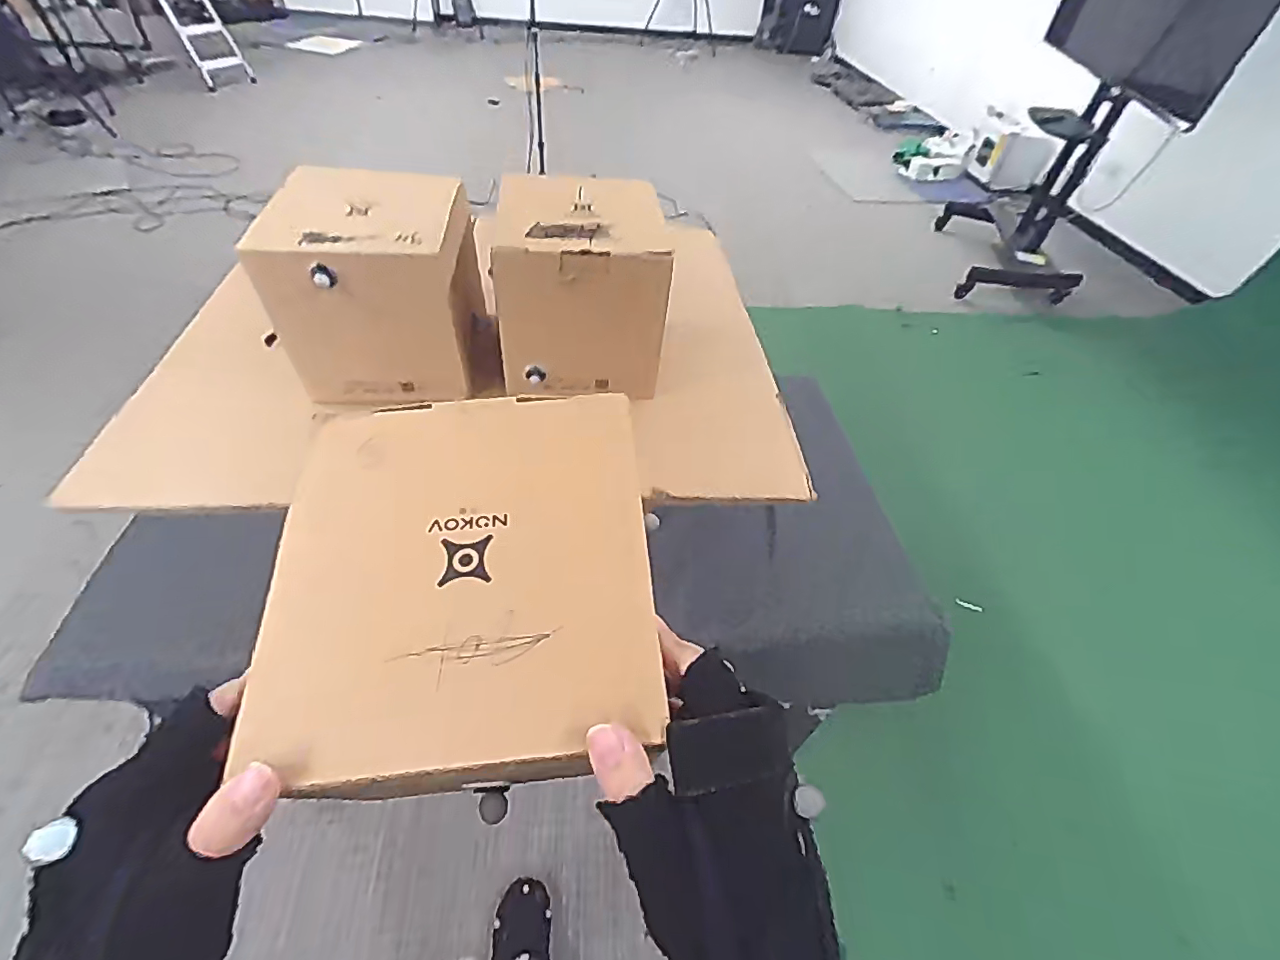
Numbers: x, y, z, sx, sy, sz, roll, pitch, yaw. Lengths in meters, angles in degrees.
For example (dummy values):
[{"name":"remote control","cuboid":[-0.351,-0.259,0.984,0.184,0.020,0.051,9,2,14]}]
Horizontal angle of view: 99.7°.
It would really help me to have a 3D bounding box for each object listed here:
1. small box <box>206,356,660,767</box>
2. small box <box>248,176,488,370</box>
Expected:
[{"name":"small box","cuboid":[-0.084,0.053,0.308,0.168,0.176,0.179,-4,59,-4]},{"name":"small box","cuboid":[-0.265,-0.204,0.582,0.168,0.176,0.179,-2,48,-5]}]
